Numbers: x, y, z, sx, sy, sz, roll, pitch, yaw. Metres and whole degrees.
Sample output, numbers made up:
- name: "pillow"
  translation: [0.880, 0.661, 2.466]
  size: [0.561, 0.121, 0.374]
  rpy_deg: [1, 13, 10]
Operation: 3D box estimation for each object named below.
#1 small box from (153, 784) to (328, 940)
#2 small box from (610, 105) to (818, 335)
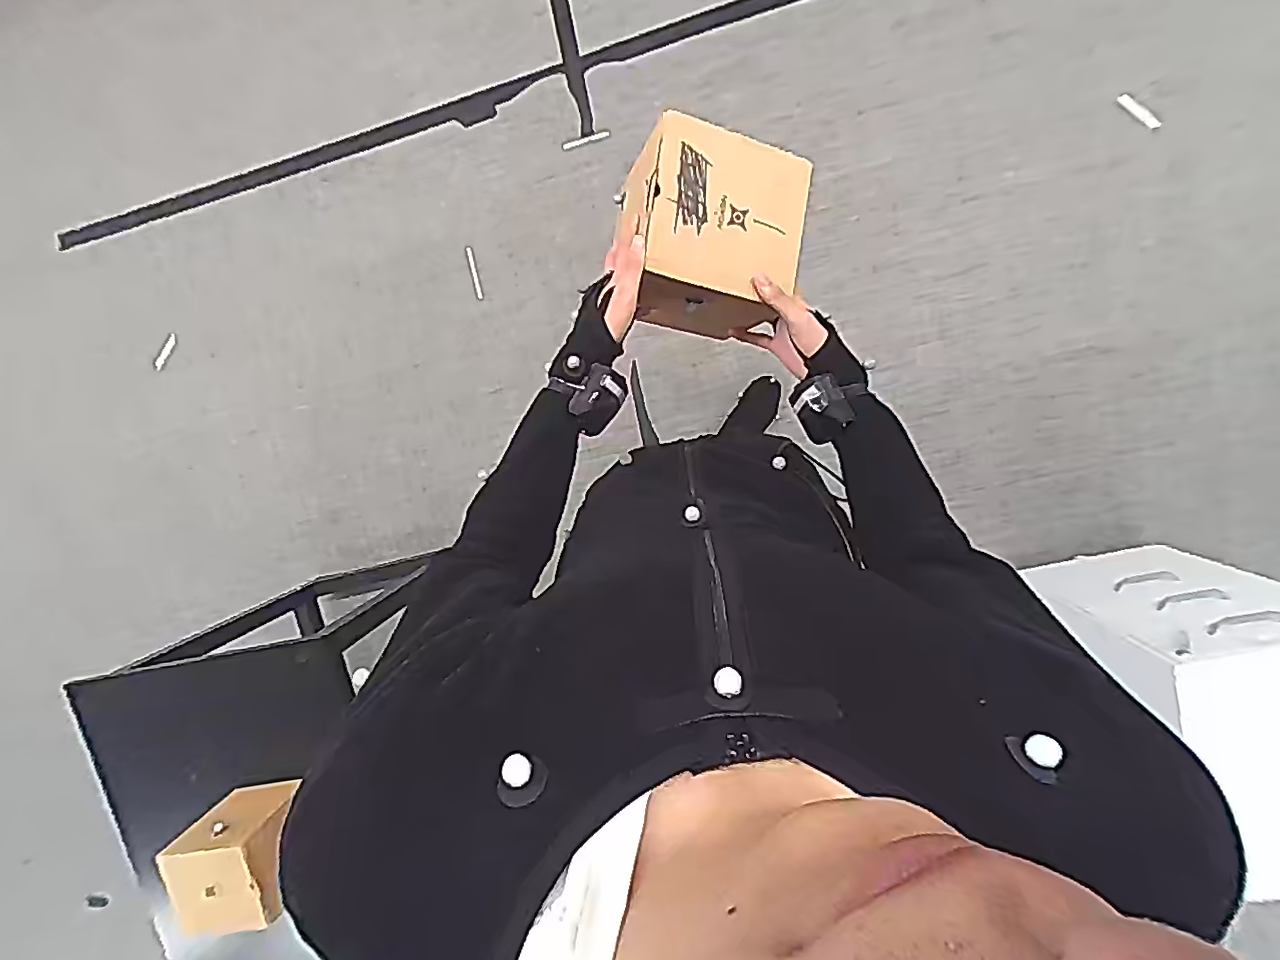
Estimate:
- name: "small box"
  translation: [-0.734, 0.704, 1.011]
  size: [0.179, 0.176, 0.168]
  rpy_deg: [-12, 97, 8]
- name: "small box"
  translation: [0.074, -0.279, 0.629]
  size: [0.179, 0.176, 0.168]
  rpy_deg: [9, 90, -18]
